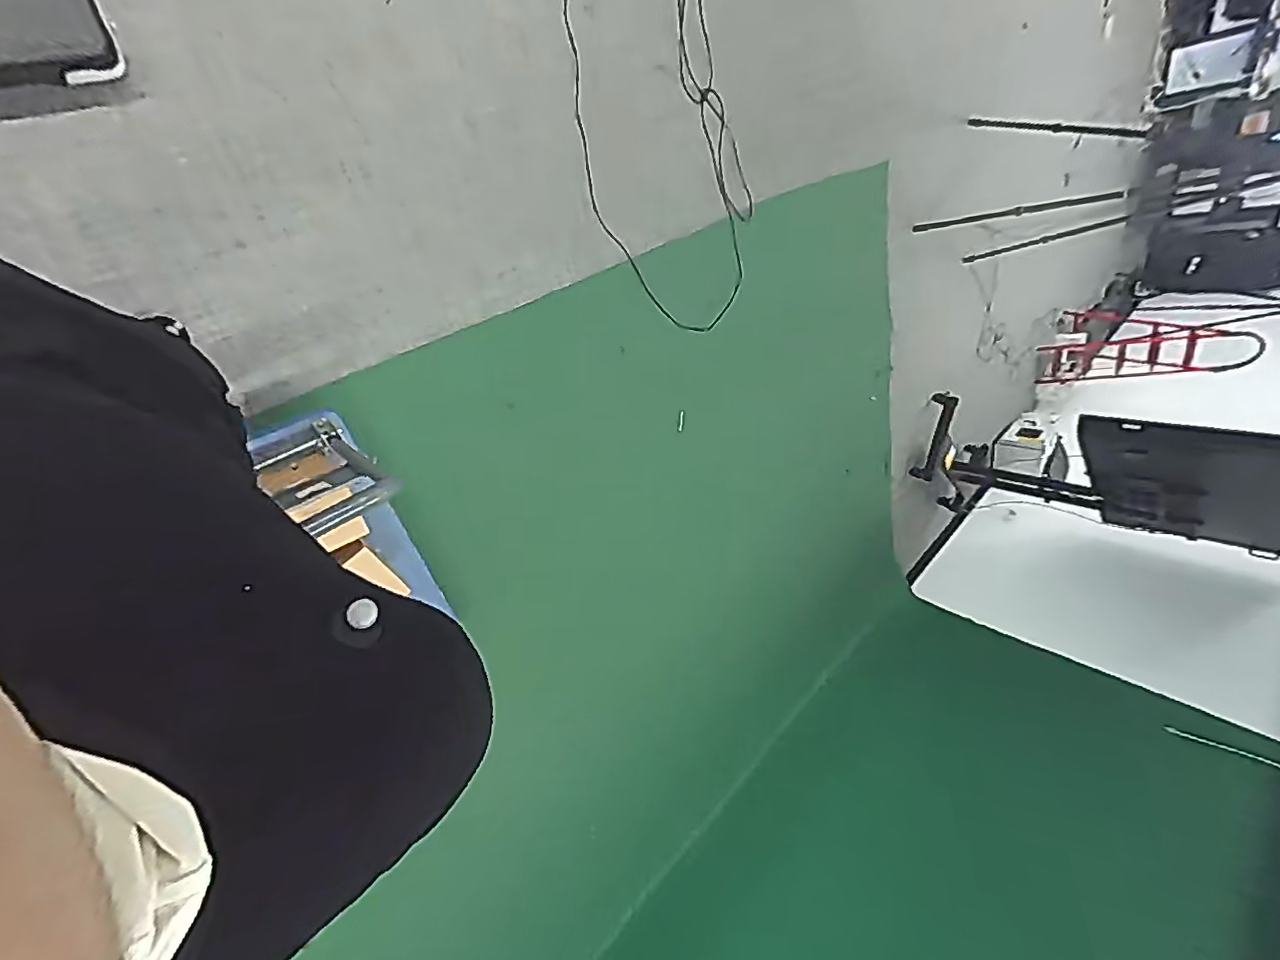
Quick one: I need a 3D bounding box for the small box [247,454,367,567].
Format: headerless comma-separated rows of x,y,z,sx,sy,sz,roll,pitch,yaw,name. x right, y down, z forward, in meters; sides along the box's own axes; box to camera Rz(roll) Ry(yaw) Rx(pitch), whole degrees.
-0.753,0.062,1.224,0.168,0.176,0.179,-30,122,-31,small box

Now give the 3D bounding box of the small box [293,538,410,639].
-0.709,0.248,1.322,0.168,0.176,0.179,-44,129,-22,small box
